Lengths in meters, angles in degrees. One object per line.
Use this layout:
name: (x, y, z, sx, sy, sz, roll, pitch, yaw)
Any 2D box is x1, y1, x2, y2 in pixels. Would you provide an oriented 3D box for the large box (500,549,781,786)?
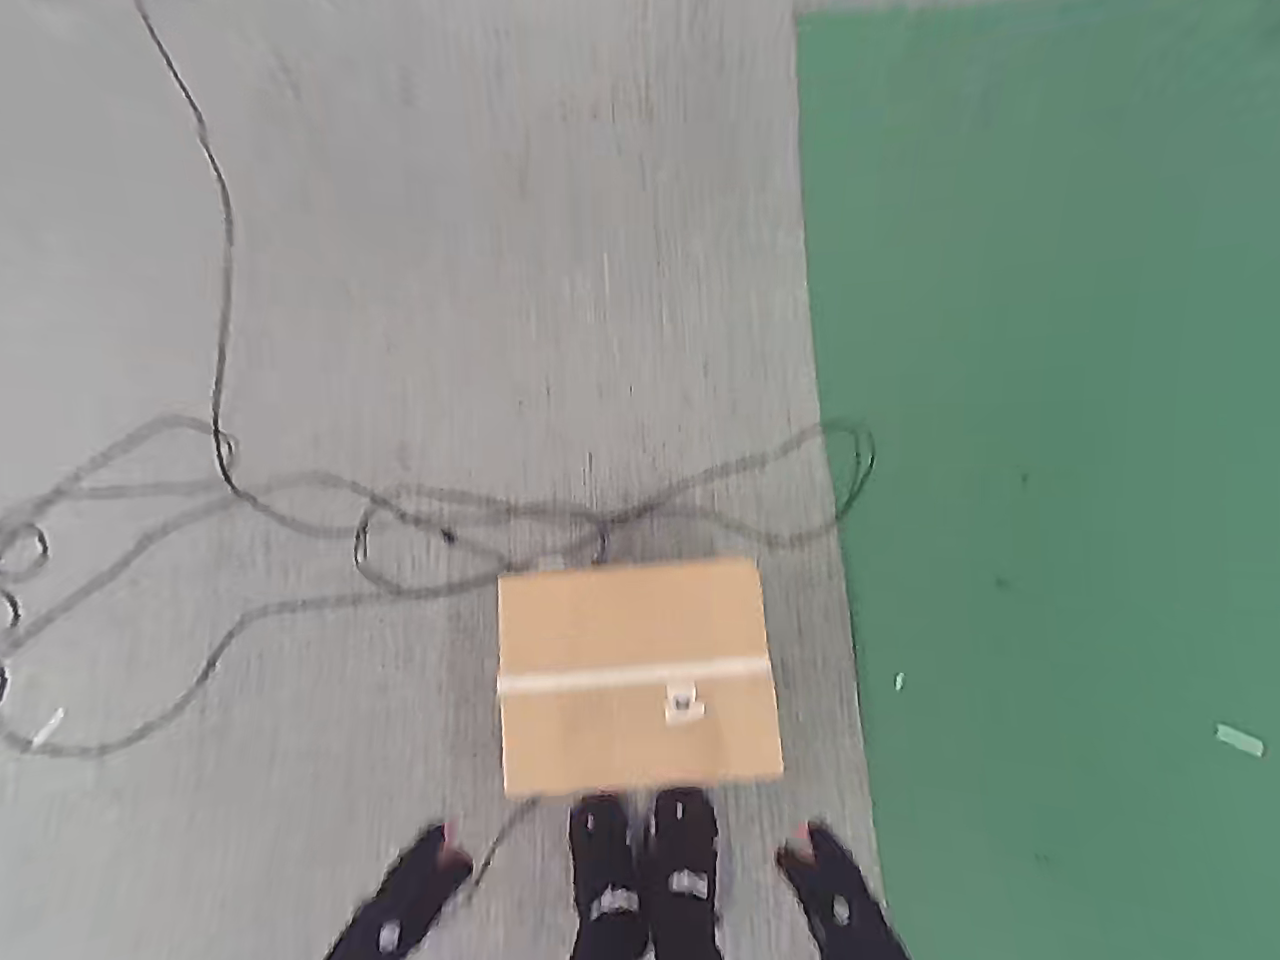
large box: (-0.005, 0.303, 0.954, 0.408, 0.320, 0.320, -5, 80, 0)
